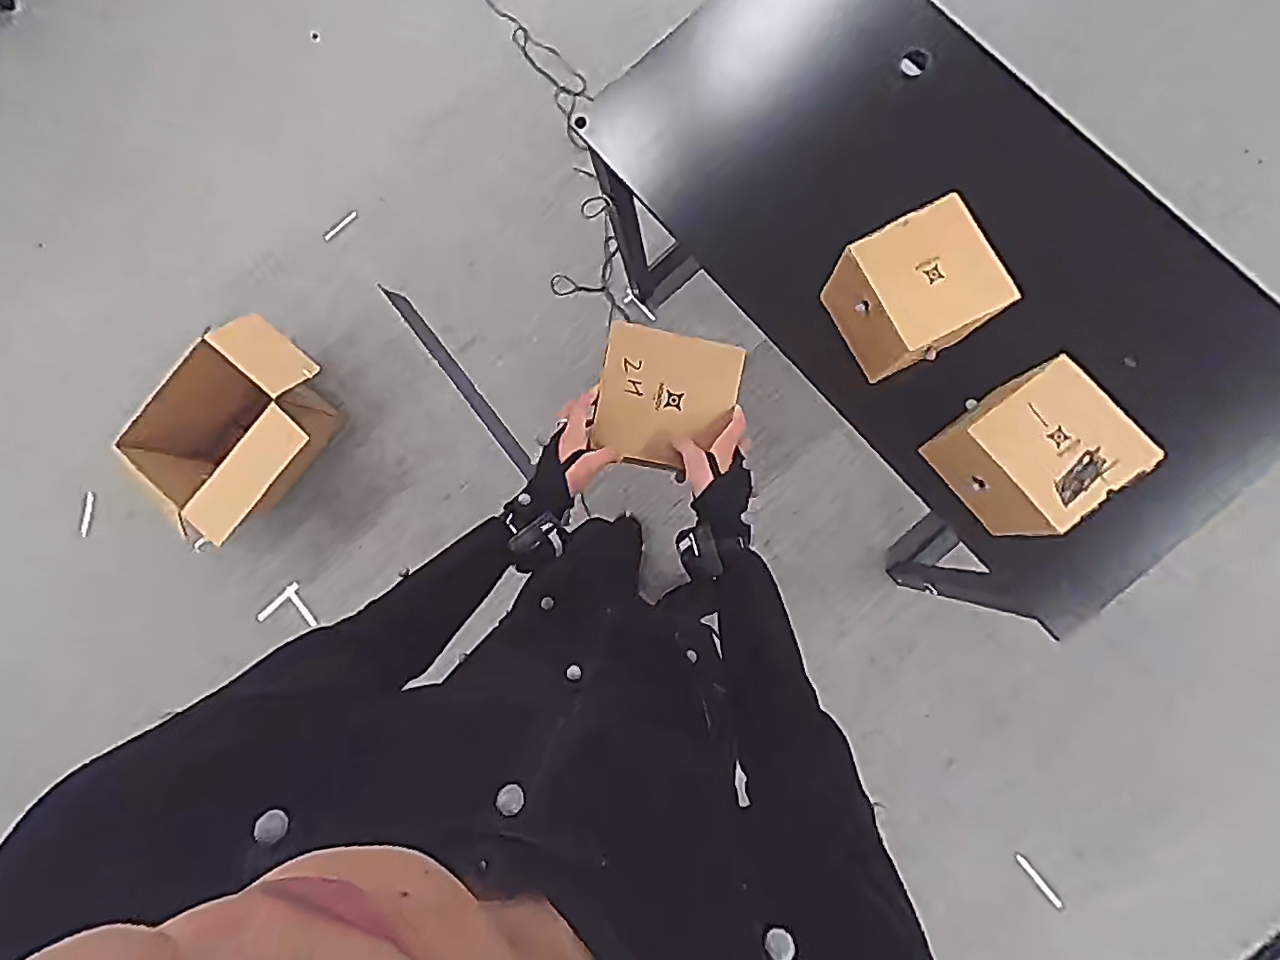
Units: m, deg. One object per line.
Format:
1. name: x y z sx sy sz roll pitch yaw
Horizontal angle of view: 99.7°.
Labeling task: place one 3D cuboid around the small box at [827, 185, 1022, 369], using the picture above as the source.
1. small box: 0.407 -0.285 0.808 0.168 0.176 0.179 -27 82 3

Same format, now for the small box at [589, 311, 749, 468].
1. small box: 0.030 -0.113 0.745 0.179 0.176 0.168 11 89 -4

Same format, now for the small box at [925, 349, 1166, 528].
1. small box: 0.553 -0.049 0.768 0.168 0.176 0.179 -38 81 2
